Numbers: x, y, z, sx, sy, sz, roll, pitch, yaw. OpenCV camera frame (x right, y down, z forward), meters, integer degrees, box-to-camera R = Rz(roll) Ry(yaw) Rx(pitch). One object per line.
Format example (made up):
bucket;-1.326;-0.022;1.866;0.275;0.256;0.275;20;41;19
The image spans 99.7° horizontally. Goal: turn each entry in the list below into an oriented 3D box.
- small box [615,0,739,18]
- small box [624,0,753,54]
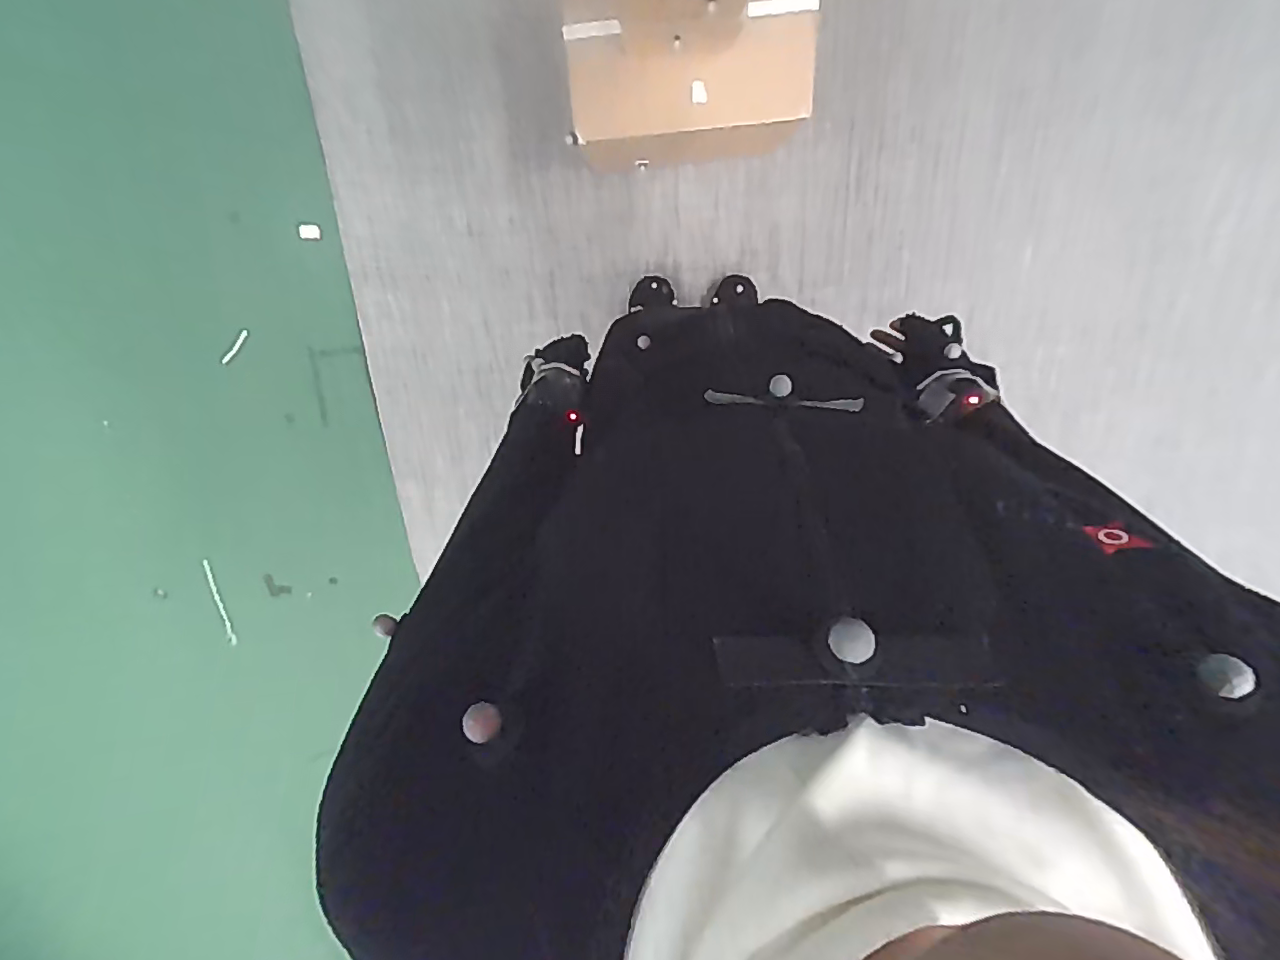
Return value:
small box;0.045;-0.665;0.624;0.168;0.176;0.179;-1;117;3
small box;0.061;-0.734;0.770;0.179;0.176;0.168;-4;118;4
